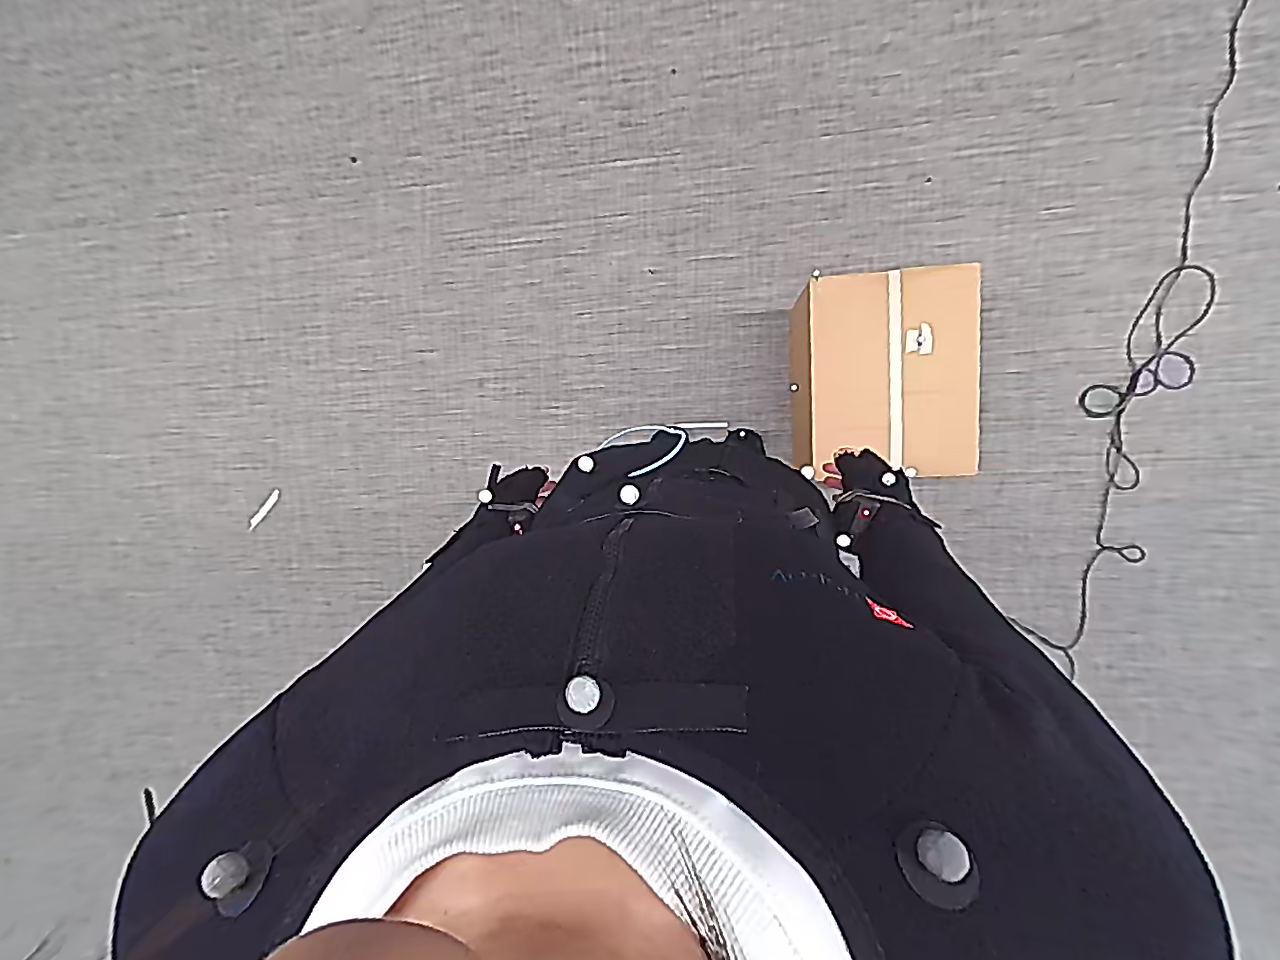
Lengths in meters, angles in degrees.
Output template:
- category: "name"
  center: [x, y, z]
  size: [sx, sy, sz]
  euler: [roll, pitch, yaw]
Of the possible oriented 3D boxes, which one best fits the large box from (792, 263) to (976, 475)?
- category: "large box"
  center: [0.522, -0.225, 1.222]
  size: [0.320, 0.320, 0.408]
  euler: [-2, 95, 8]
